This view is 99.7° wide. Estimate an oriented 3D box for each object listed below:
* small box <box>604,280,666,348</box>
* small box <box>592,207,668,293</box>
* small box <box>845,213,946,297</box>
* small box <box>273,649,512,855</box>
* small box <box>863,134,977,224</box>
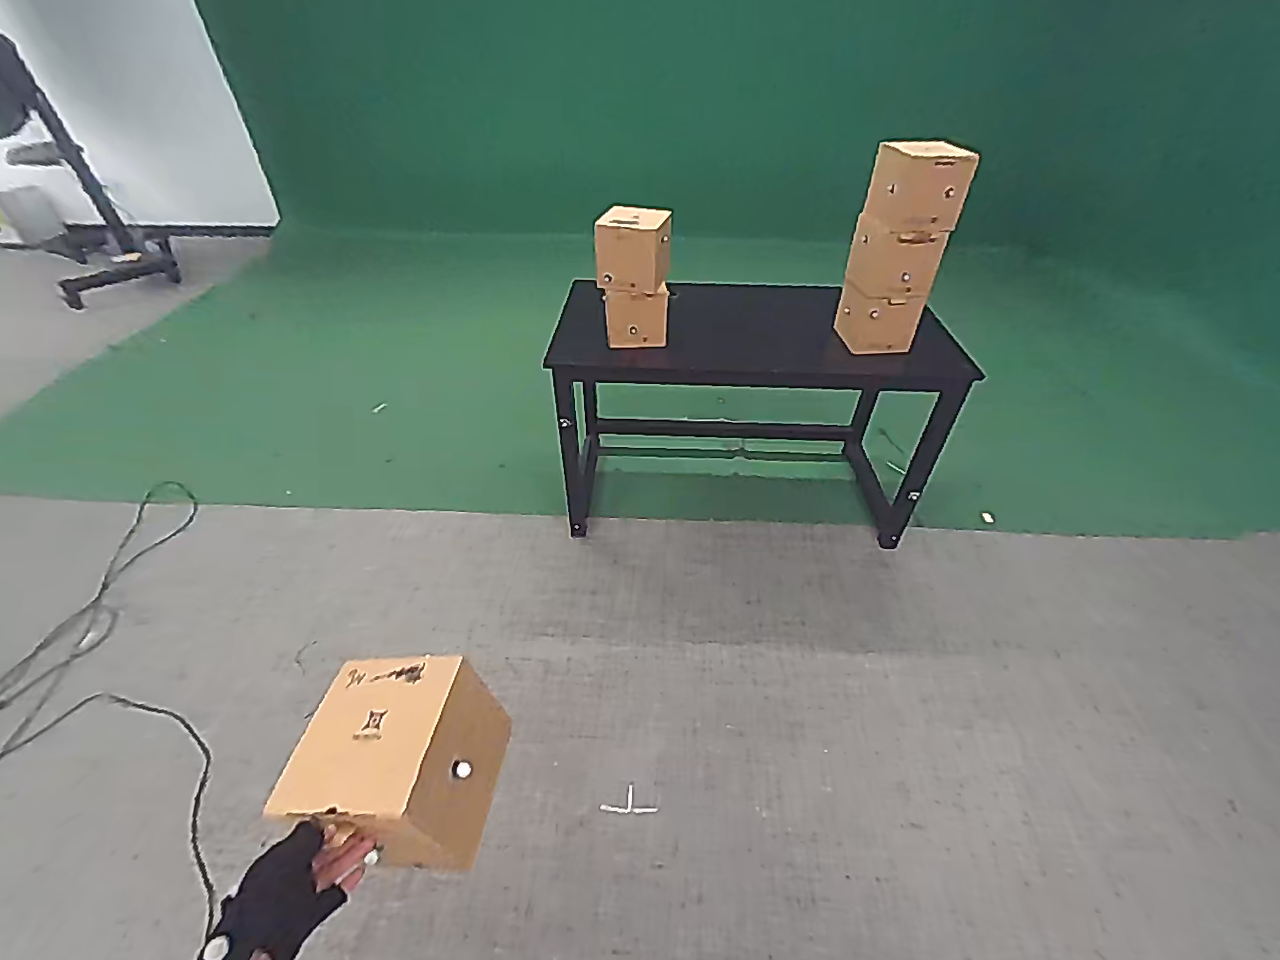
[{"bbox_3d":[-0.021,-0.503,1.585,0.168,0.176,0.179,-3,43,-5],"label":"small box"},{"bbox_3d":[-0.023,-0.626,1.475,0.168,0.176,0.179,11,42,11],"label":"small box"},{"bbox_3d":[0.672,-0.605,1.452,0.168,0.176,0.179,-4,41,-3],"label":"small box"},{"bbox_3d":[-0.273,0.326,0.648,0.168,0.176,0.179,-6,40,12],"label":"small box"},{"bbox_3d":[0.679,-0.740,1.333,0.168,0.176,0.179,-3,41,-4],"label":"small box"}]
